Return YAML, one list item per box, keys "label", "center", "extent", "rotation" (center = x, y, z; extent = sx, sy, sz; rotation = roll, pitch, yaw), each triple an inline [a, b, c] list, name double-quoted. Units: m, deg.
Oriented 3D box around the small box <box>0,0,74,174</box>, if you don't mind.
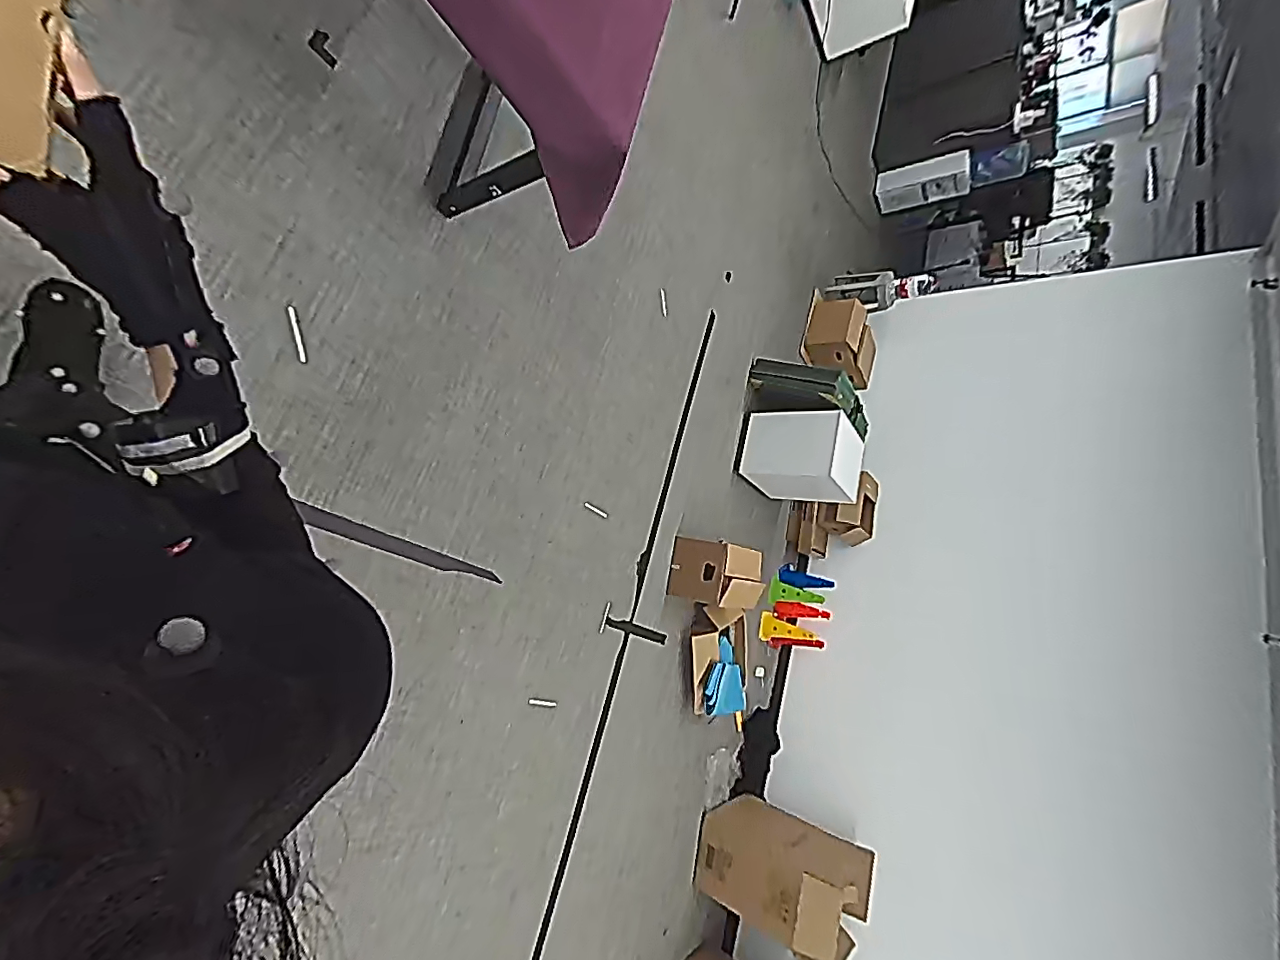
- label: "small box"
  center: [-0.425, -0.277, 0.273]
  extent: [0.179, 0.176, 0.168]
  rotation: [3, 102, -53]
